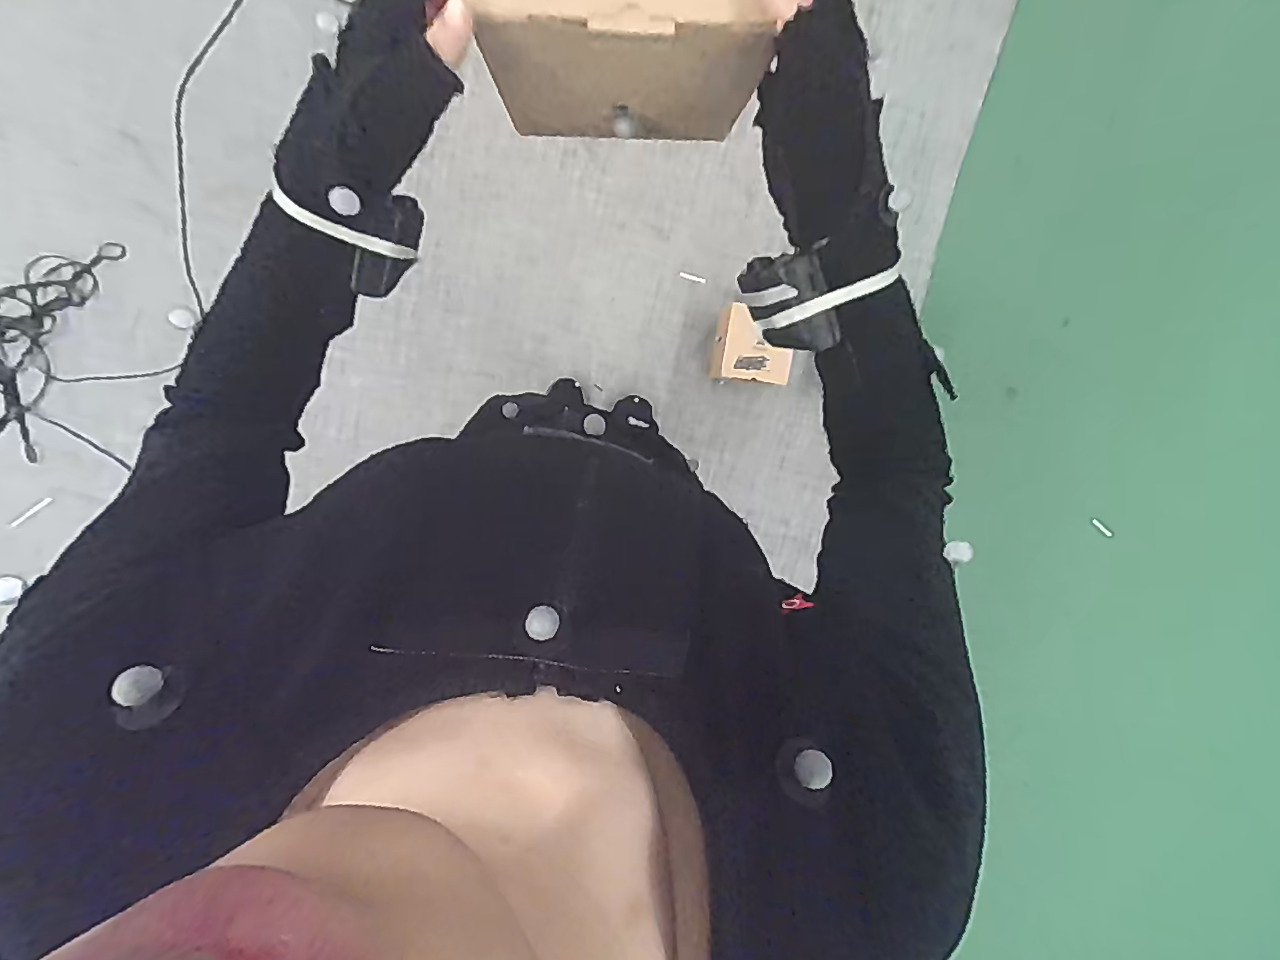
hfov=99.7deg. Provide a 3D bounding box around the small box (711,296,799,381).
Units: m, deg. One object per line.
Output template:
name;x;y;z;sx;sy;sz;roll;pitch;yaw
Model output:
small box;0.280;-0.347;1.357;0.168;0.176;0.179;8;99;-4
